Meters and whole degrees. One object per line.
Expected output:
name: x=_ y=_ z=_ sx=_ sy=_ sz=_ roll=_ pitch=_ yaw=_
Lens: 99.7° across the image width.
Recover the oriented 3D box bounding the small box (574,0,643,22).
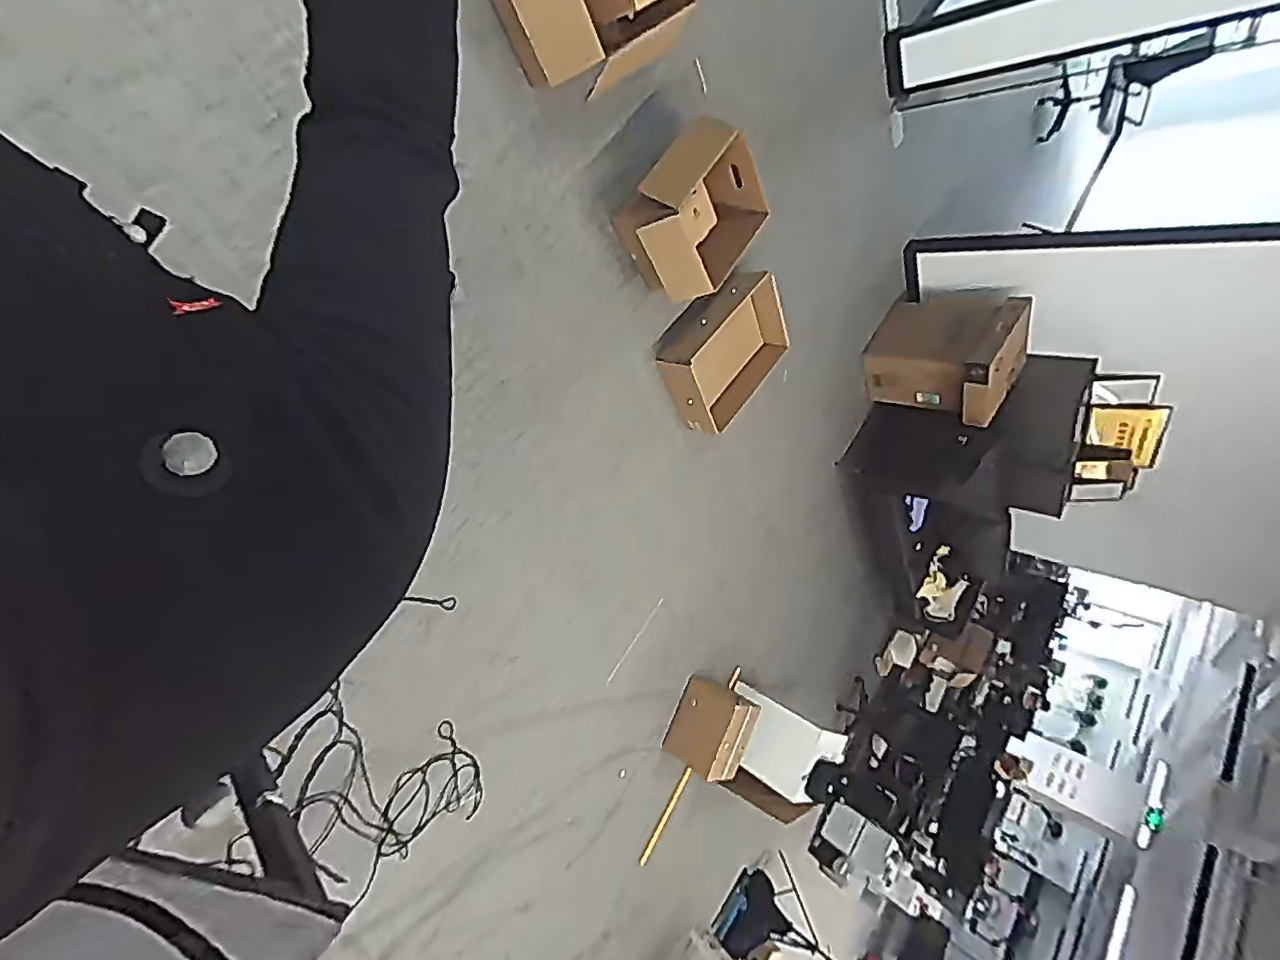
small box: x=-0.074 y=-1.277 z=1.340 sx=0.168 sy=0.176 sz=0.179 roll=-50 pitch=136 yaw=-24
